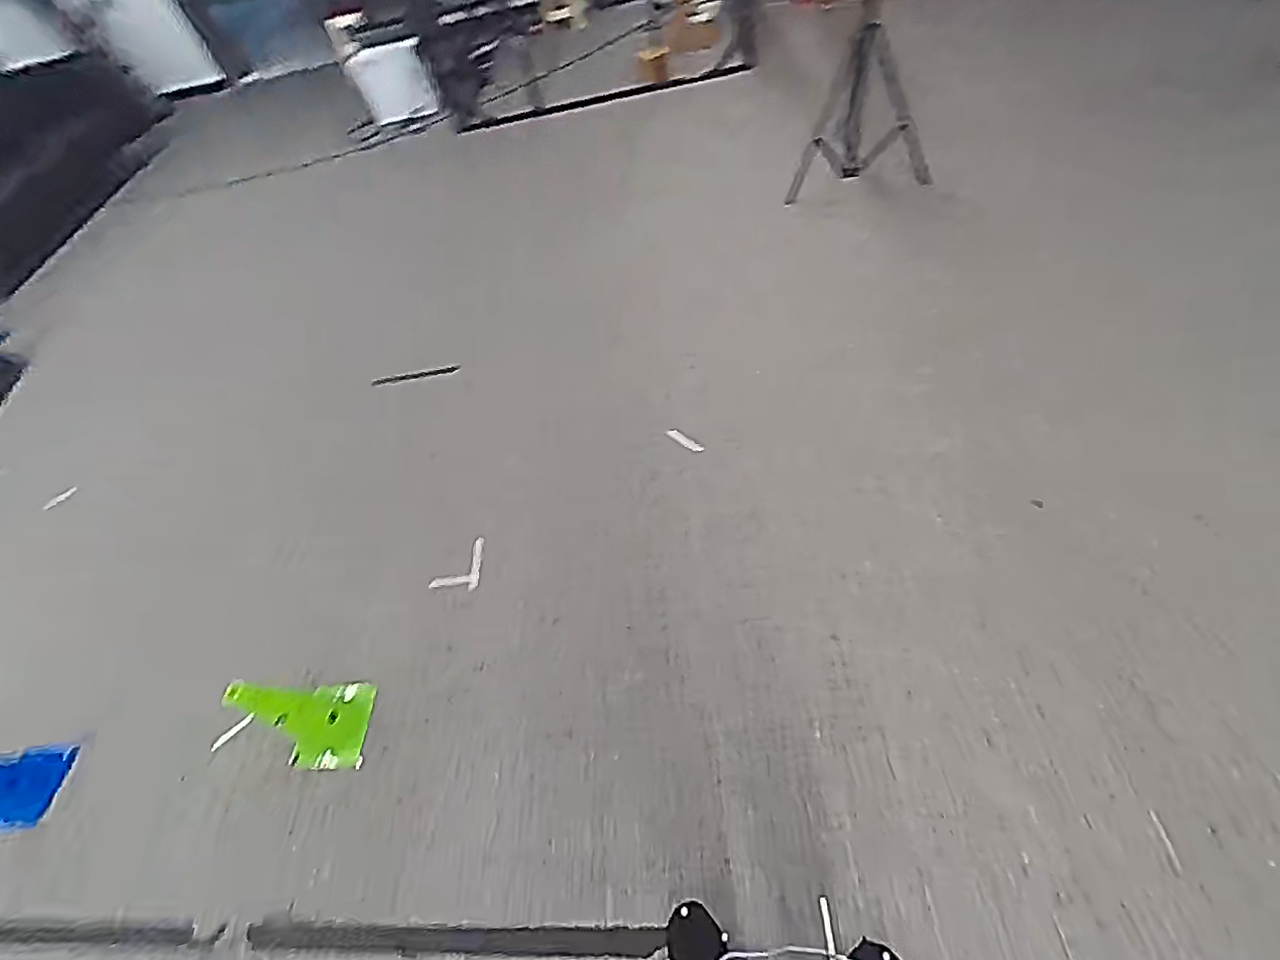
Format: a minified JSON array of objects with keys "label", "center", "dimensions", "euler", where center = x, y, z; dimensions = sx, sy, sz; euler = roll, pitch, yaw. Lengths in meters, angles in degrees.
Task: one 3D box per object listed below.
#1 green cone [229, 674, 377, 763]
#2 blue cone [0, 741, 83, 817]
[{"label":"green cone","center":[-0.866,0.563,1.348],"dimensions":[0.200,0.368,0.202],"euler":[-6,53,8]},{"label":"blue cone","center":[-1.761,0.761,1.426],"dimensions":[0.193,0.380,0.192],"euler":[-3,54,10]}]
